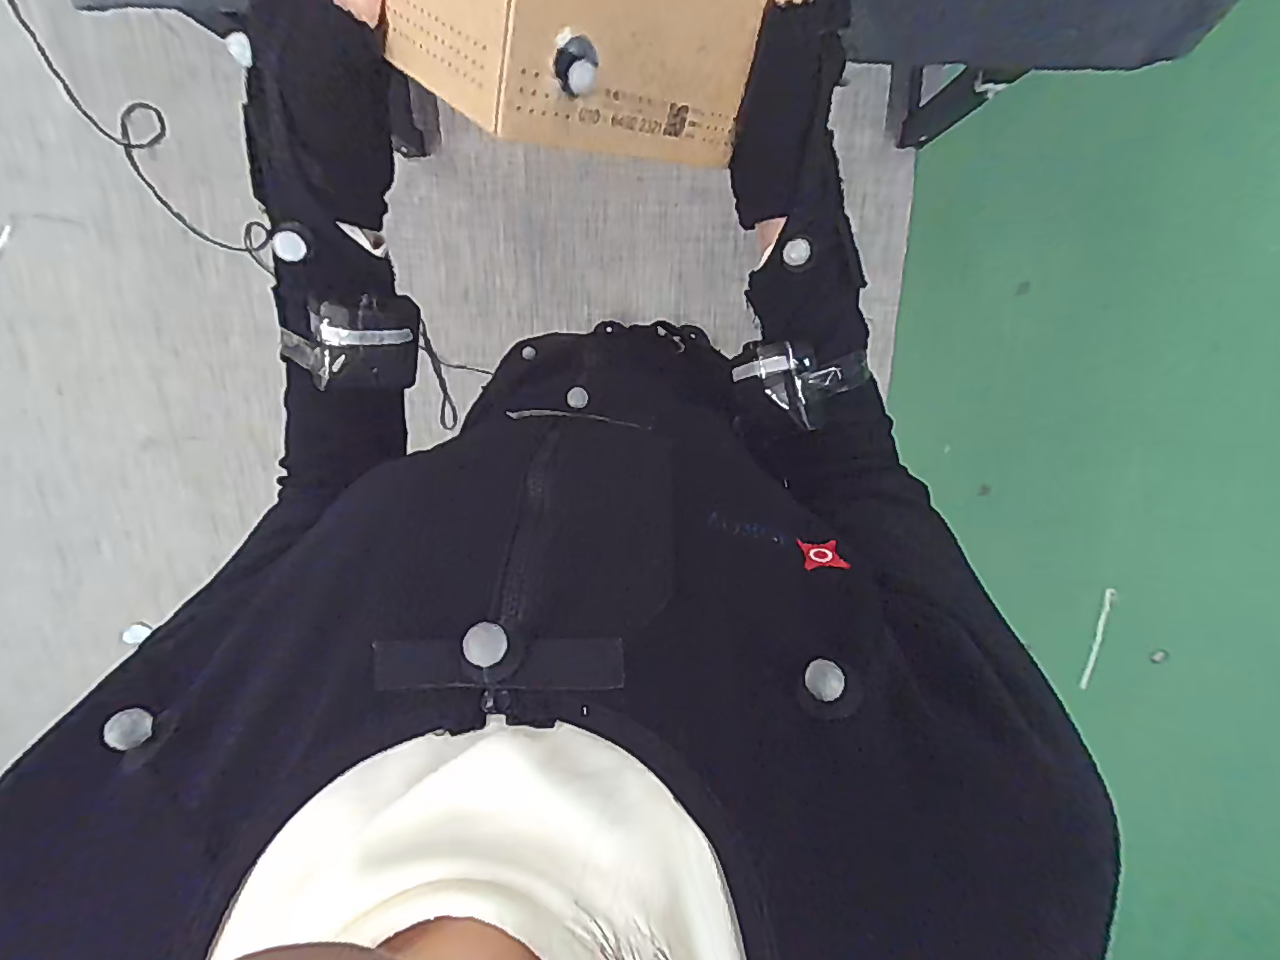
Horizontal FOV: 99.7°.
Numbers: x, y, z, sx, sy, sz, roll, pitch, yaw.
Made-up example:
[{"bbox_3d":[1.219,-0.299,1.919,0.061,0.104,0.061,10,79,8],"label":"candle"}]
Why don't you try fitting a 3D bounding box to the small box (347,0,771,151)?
[{"bbox_3d":[-0.034,-0.290,0.271,0.179,0.168,0.176,44,133,25],"label":"small box"}]
